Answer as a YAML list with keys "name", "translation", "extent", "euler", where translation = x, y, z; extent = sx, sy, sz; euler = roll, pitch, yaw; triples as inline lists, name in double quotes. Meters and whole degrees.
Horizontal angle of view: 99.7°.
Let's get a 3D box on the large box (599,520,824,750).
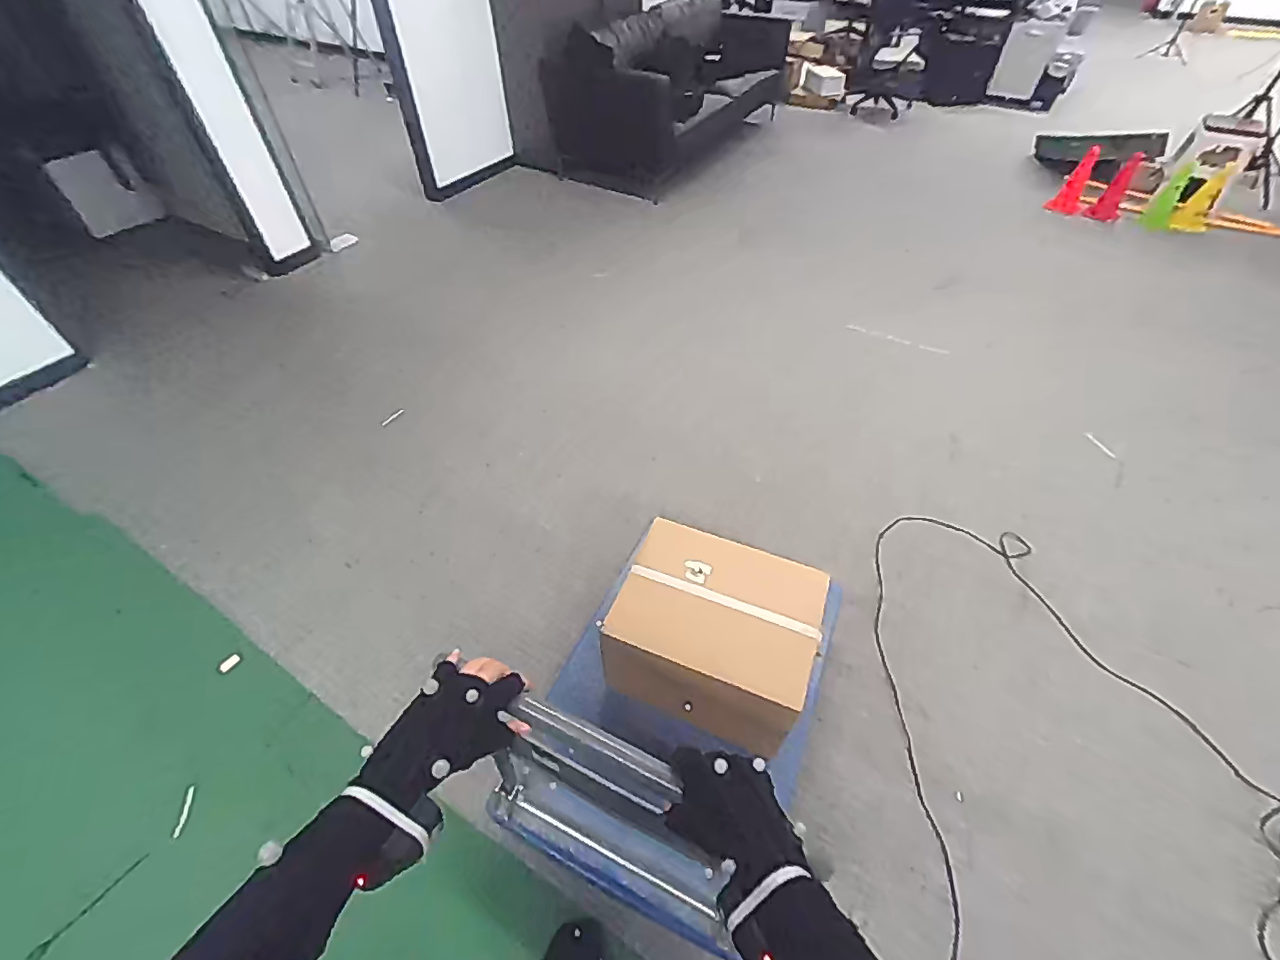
- name: "large box"
  translation: [0.160, 0.349, 1.226]
  extent: [0.408, 0.320, 0.320]
  euler: [17, 50, 15]
